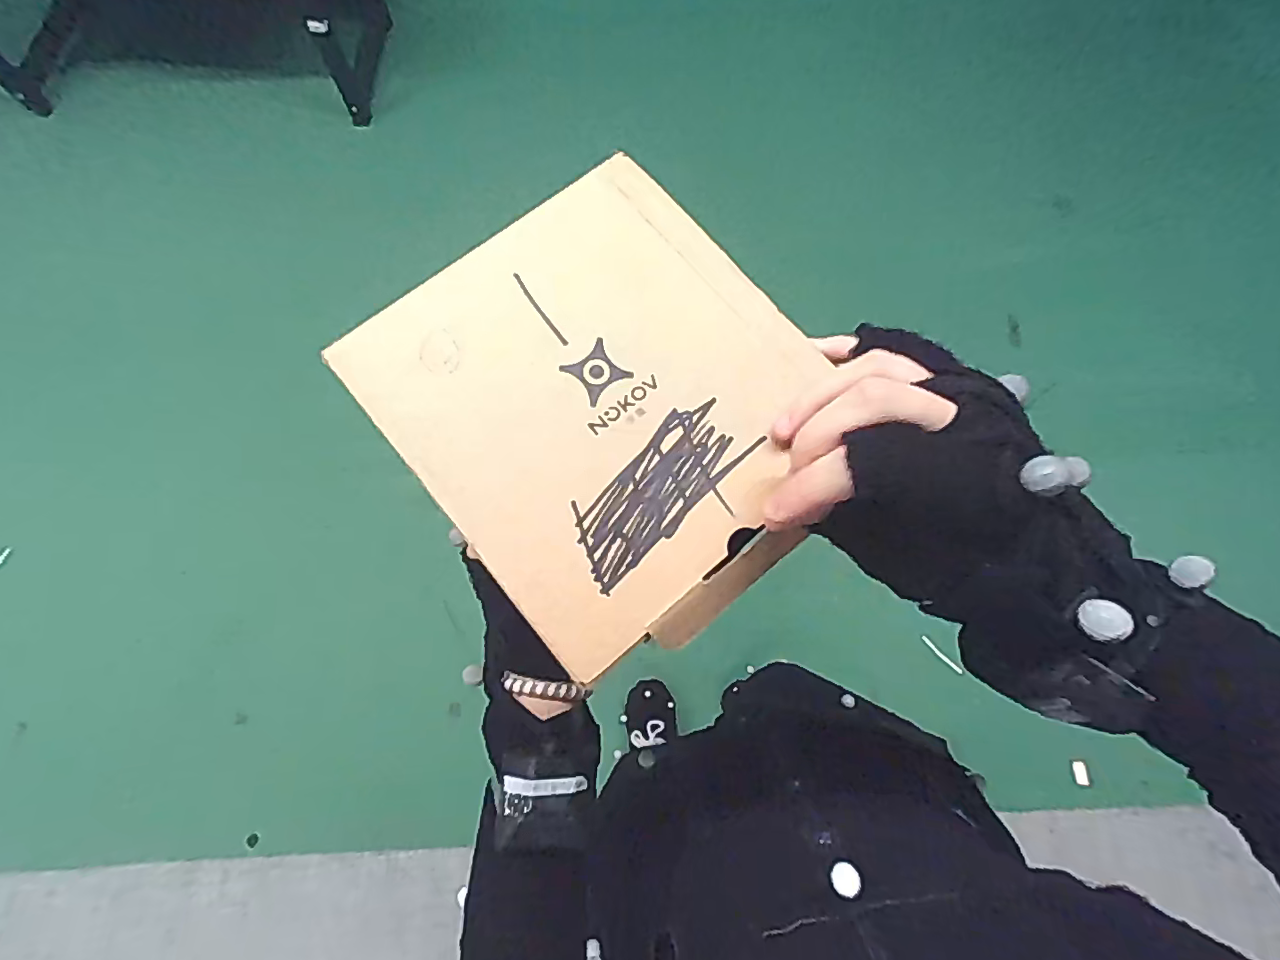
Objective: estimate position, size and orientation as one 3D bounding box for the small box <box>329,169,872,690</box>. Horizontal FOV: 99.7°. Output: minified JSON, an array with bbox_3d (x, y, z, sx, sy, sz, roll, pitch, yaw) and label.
[{"bbox_3d":[-0.019,-0.016,0.307,0.168,0.176,0.179,-40,82,-11],"label":"small box"}]
